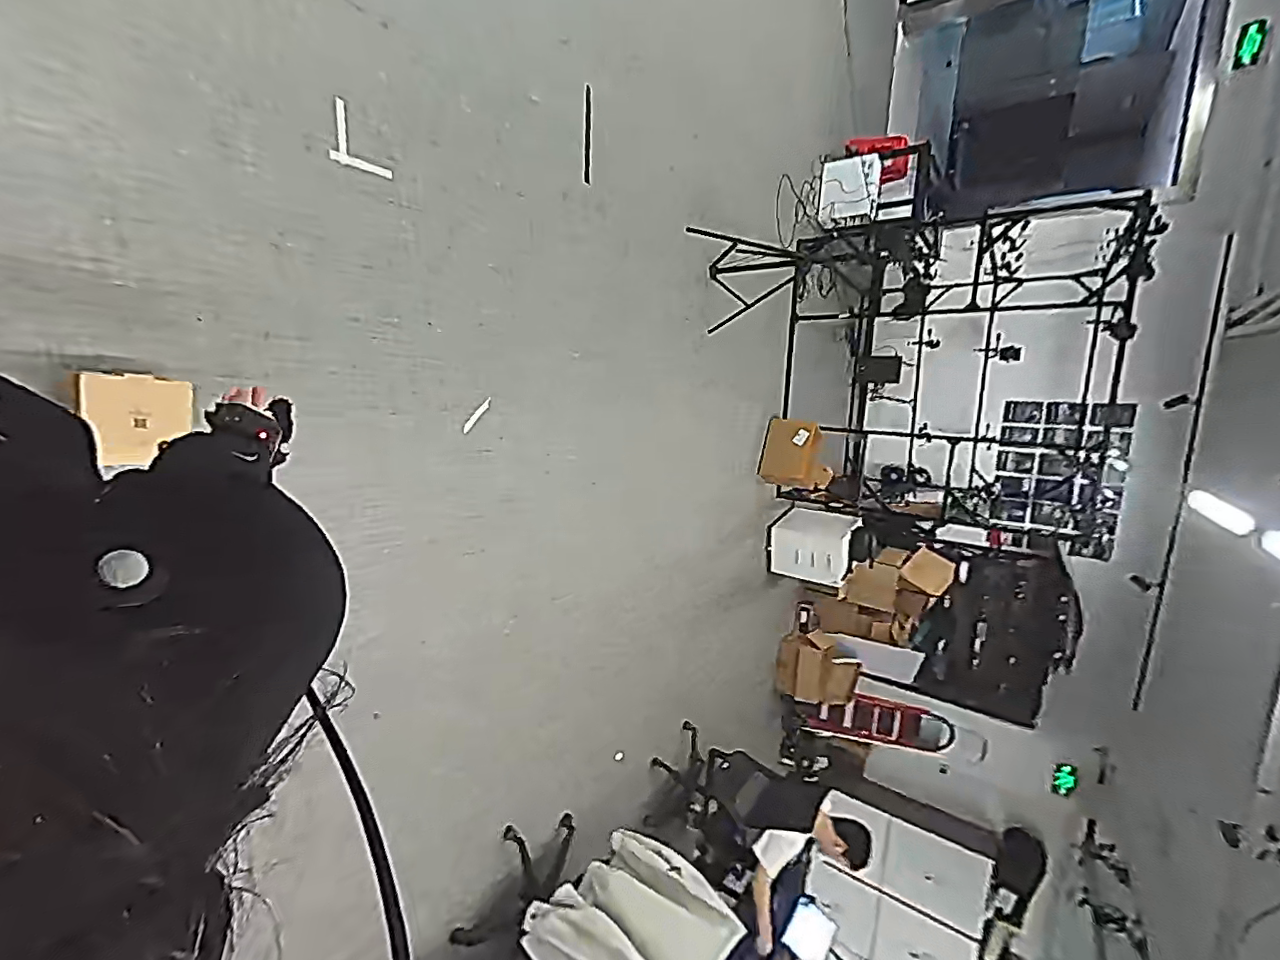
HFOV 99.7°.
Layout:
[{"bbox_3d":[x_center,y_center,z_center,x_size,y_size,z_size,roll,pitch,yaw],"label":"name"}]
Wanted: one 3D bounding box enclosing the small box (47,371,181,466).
[{"bbox_3d":[-1.051,-0.122,1.082,0.168,0.176,0.179,-4,101,-55],"label":"small box"}]
